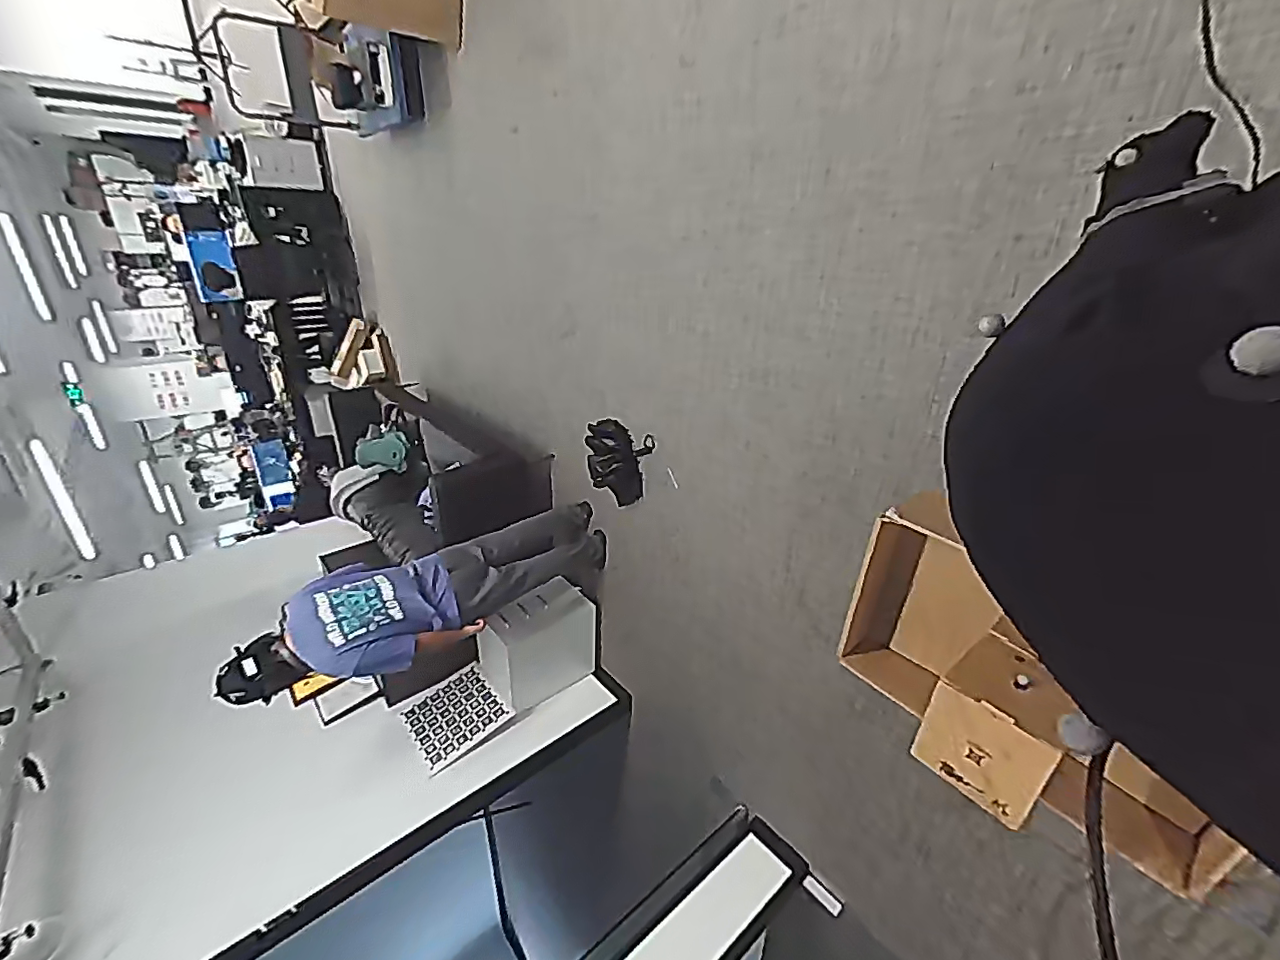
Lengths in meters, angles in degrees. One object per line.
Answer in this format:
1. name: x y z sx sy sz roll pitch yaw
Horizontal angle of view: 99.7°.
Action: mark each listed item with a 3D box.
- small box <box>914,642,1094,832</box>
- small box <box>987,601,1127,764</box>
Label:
1. small box: 0.573 0.390 0.852 0.168 0.176 0.179 32 128 44
2. small box: 0.702 0.341 0.941 0.168 0.176 0.179 31 130 44
